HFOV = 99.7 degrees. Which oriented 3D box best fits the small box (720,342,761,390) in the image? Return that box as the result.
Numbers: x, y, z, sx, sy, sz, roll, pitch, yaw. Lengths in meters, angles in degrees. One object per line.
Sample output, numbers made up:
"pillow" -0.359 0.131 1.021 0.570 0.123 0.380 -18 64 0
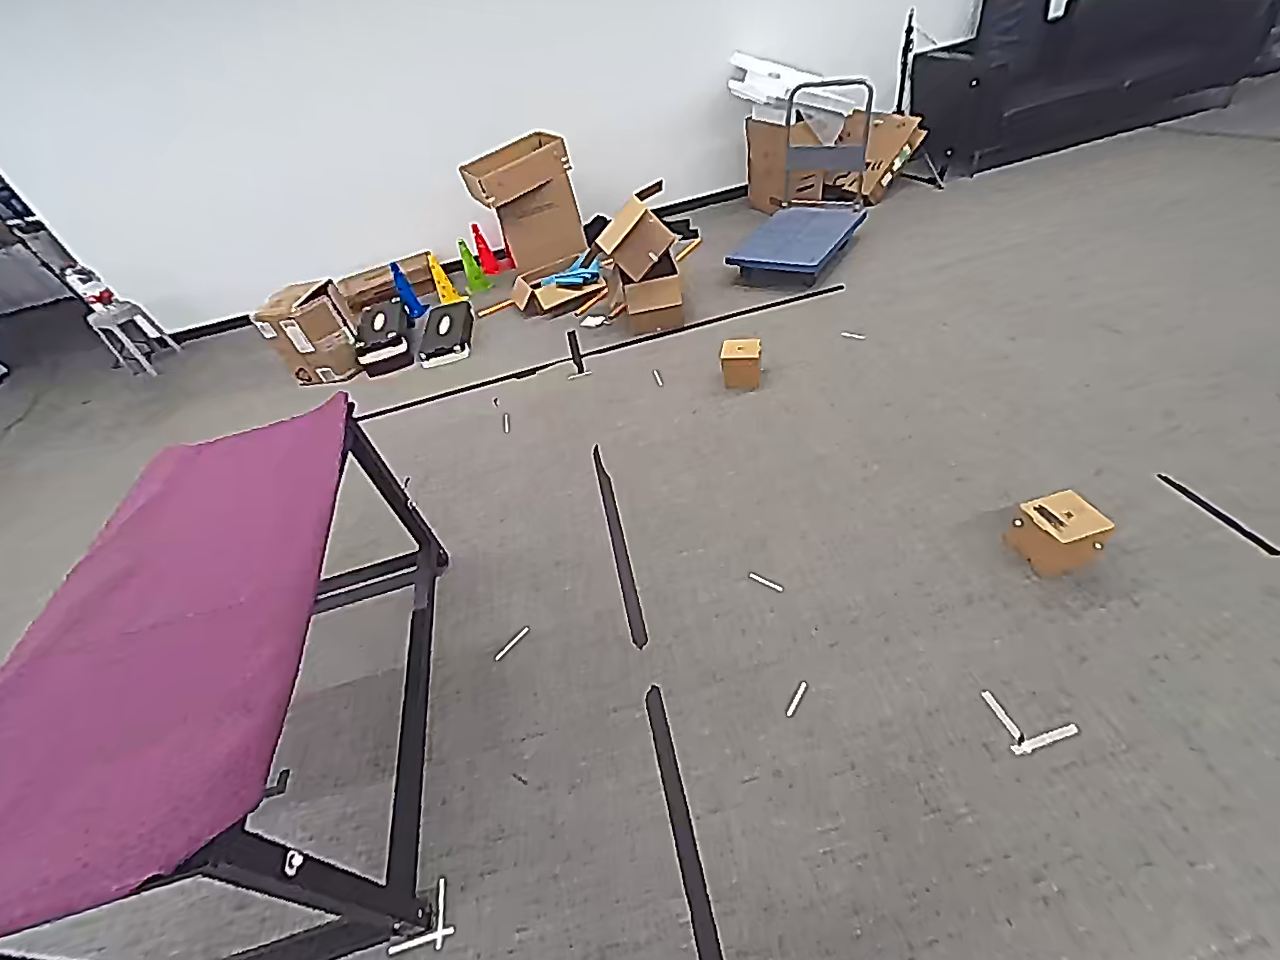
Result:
"small box" 0.487 -0.547 2.600 0.179 0.176 0.168 2 44 16
